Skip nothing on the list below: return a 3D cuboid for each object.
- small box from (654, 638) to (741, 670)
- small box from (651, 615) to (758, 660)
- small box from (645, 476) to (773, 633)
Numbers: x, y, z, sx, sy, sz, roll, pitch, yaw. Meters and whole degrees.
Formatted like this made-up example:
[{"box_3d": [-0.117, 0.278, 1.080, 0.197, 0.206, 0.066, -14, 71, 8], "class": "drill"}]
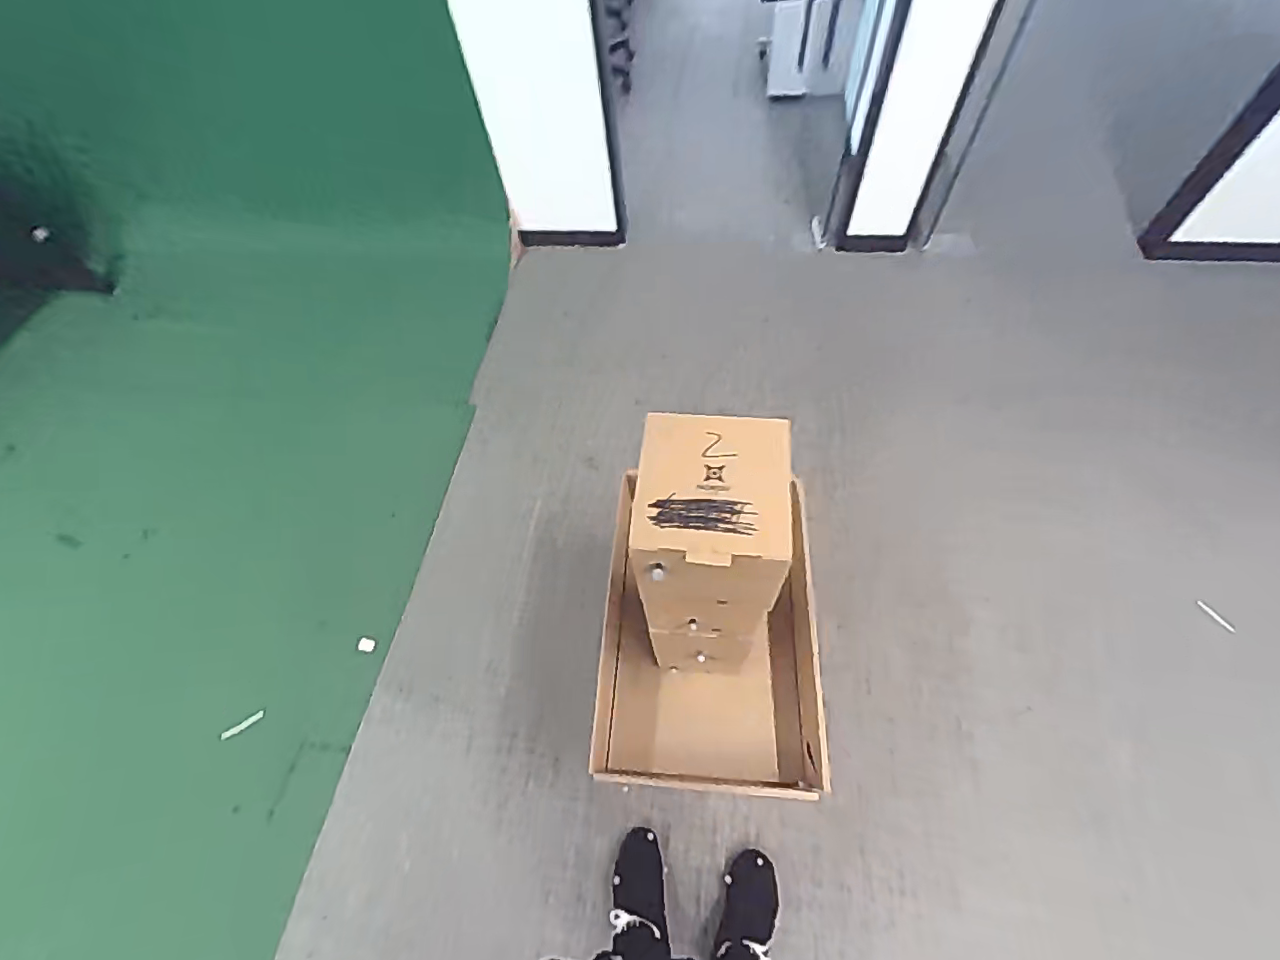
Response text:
[{"box_3d": [0.122, 0.272, 1.079, 0.168, 0.176, 0.179, 3, 59, 6], "class": "small box"}, {"box_3d": [0.110, 0.198, 0.932, 0.168, 0.176, 0.179, 2, 60, 6], "class": "small box"}, {"box_3d": [0.097, 0.112, 0.795, 0.168, 0.176, 0.179, 2, 60, 5], "class": "small box"}]
